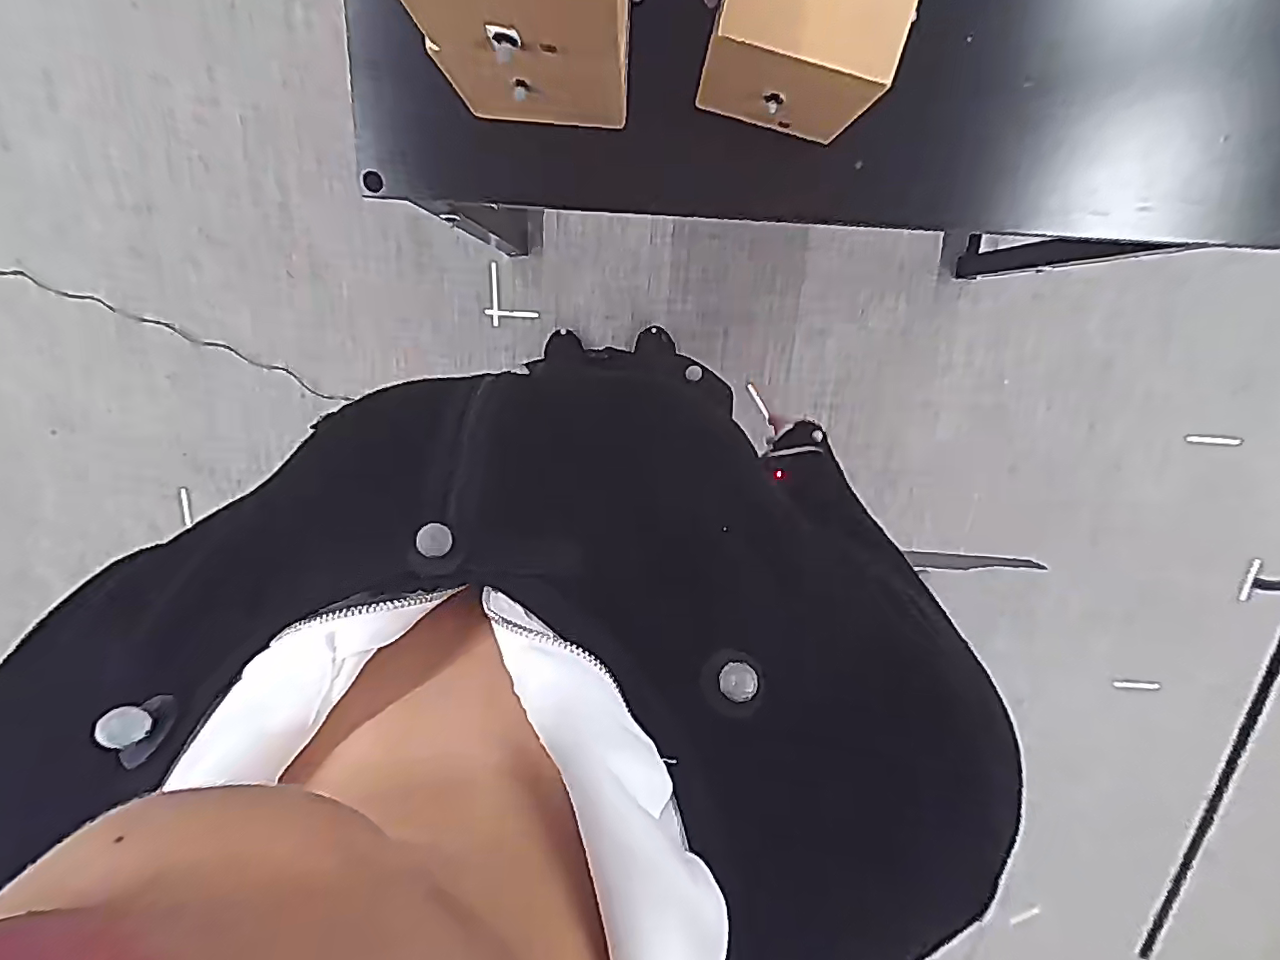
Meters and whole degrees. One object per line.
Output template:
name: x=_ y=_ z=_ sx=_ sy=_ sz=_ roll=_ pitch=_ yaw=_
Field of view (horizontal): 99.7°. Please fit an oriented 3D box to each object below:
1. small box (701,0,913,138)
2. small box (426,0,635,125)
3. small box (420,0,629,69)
small box: x=0.165 y=-0.478 z=0.541 sx=0.168 sy=0.176 sz=0.179 roll=13 pitch=105 yaw=-5
small box: x=-0.097 y=-0.477 z=0.537 sx=0.179 sy=0.176 sz=0.168 roll=3 pitch=106 yaw=-1
small box: x=-0.087 y=-0.434 z=0.379 sx=0.168 sy=0.176 sz=0.179 roll=4 pitch=106 yaw=-2
